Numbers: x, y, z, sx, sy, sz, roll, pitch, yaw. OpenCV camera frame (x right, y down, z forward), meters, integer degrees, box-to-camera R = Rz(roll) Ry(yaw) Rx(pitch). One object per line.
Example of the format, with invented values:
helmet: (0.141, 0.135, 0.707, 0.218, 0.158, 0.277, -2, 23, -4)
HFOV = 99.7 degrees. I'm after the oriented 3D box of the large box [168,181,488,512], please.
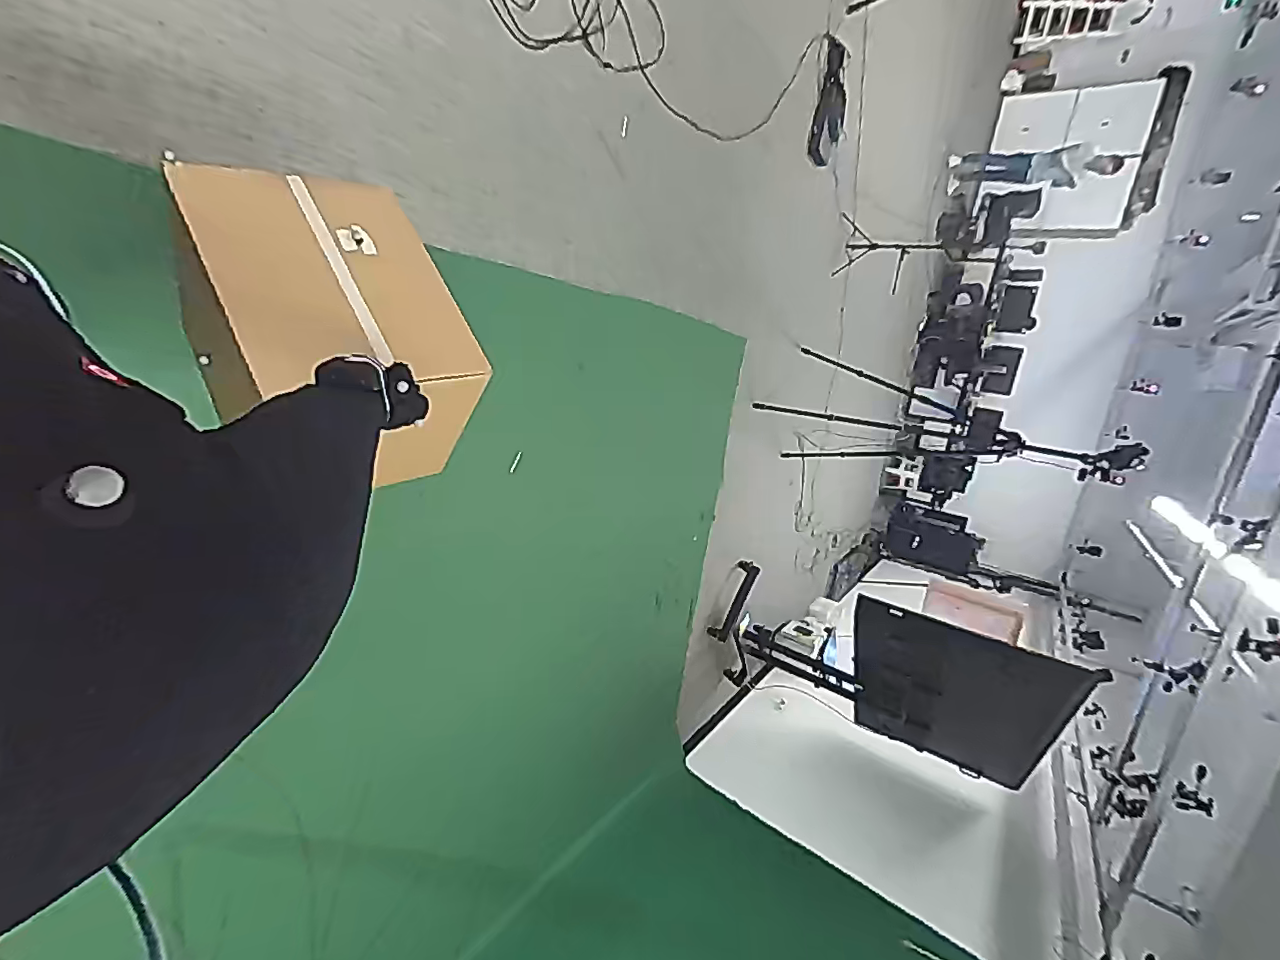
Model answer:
large box: (-0.521, -0.218, 0.913, 0.320, 0.408, 0.320, -19, 162, -43)
